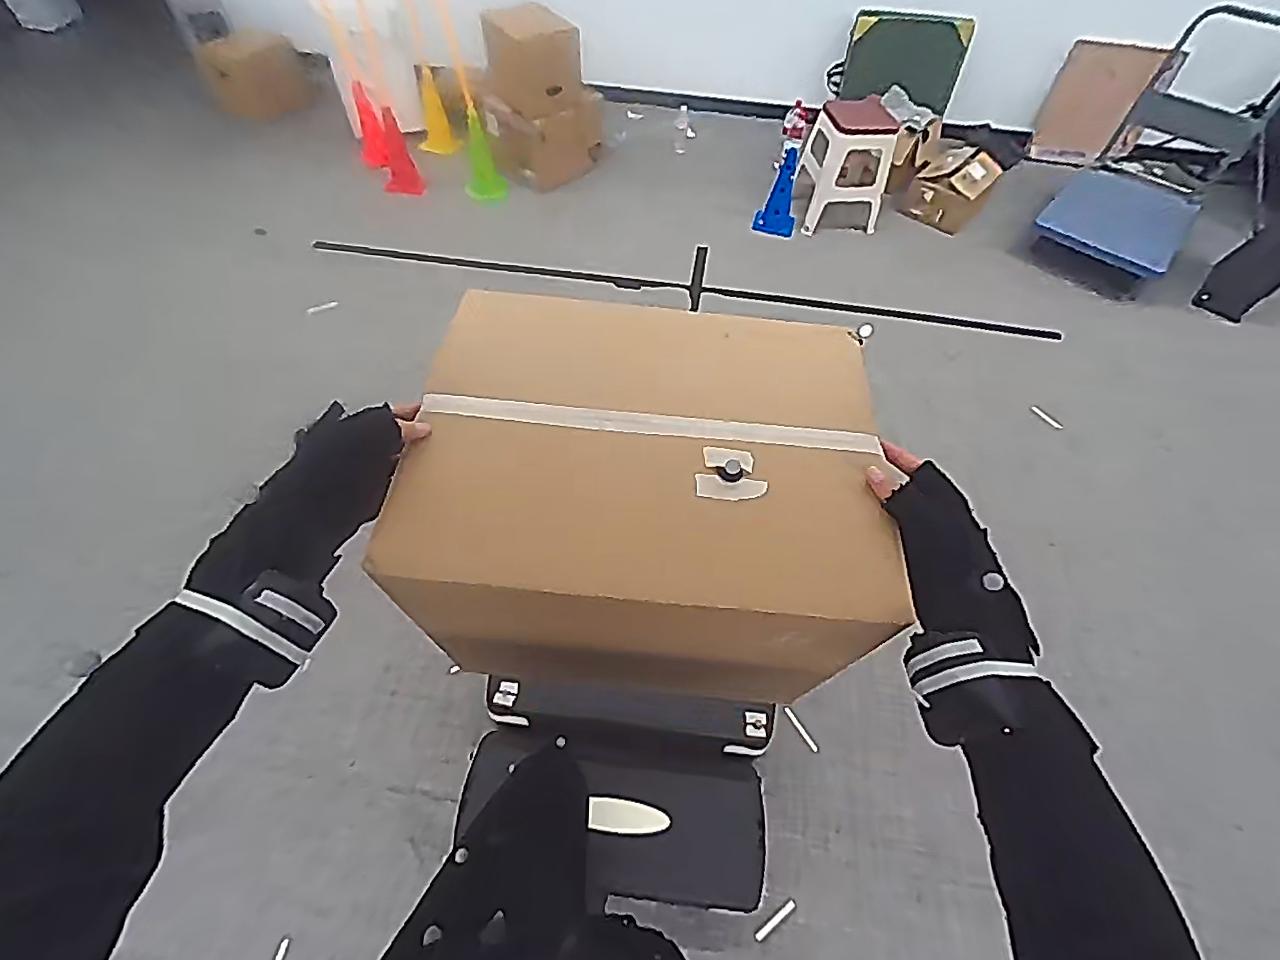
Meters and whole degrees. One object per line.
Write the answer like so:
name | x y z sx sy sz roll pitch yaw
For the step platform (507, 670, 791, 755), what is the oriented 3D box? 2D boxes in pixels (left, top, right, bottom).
step platform | 0.022 0.484 1.348 0.684 0.204 0.286 7 55 1

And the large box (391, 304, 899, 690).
large box | 0.004 0.037 0.618 0.408 0.320 0.320 6 58 -1
